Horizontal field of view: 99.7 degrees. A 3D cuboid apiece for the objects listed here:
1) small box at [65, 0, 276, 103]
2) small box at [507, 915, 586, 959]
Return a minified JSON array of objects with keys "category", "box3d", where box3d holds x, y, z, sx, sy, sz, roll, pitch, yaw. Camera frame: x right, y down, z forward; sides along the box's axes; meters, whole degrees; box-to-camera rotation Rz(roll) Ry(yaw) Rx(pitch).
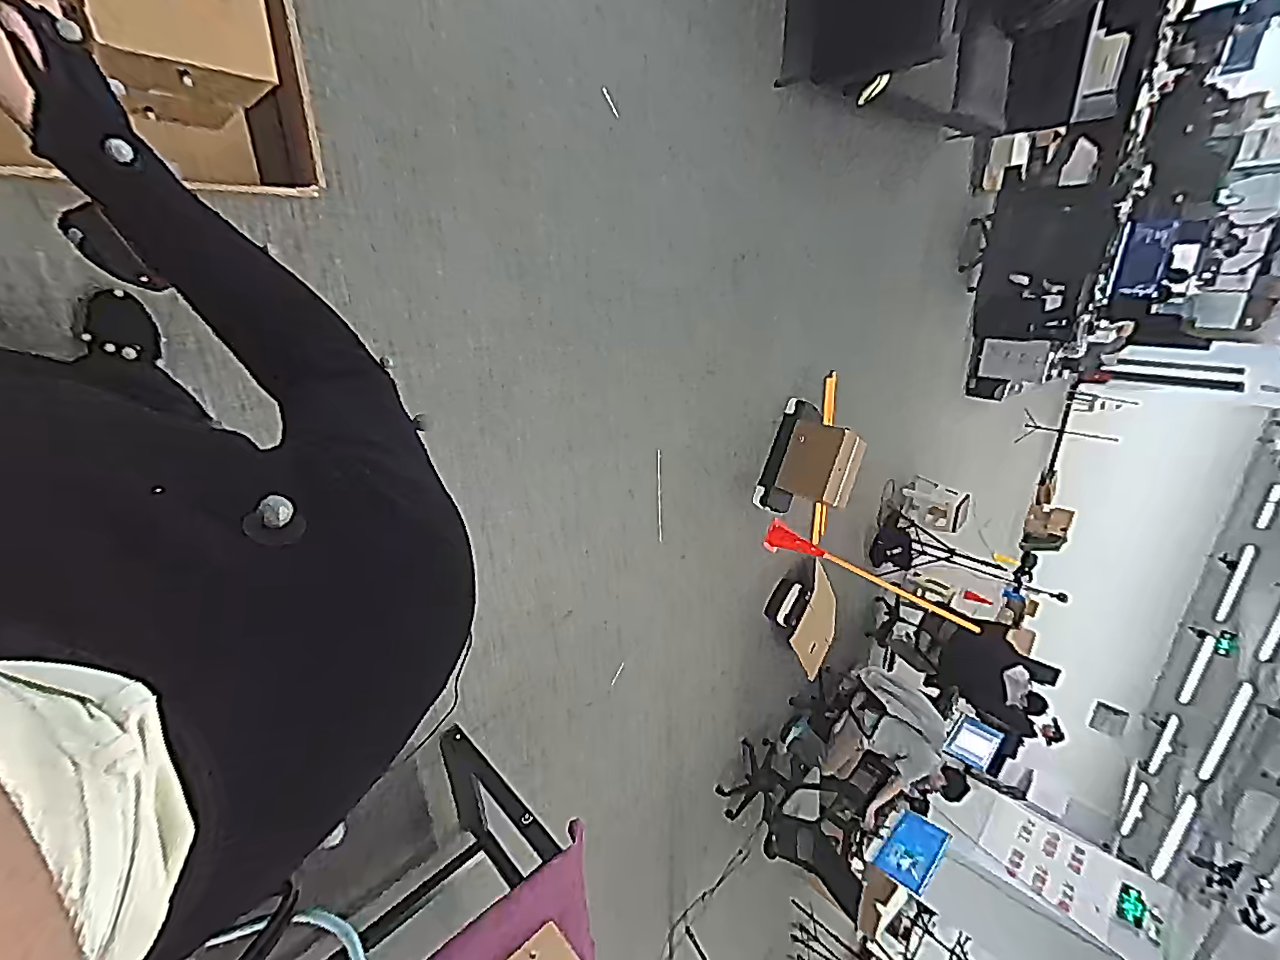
[{"category":"small box","box3d":[-0.576,-0.581,0.653,0.179,0.176,0.168,-19,119,-43]},{"category":"small box","box3d":[-0.263,1.381,1.500,0.179,0.176,0.168,-20,119,-40]}]
